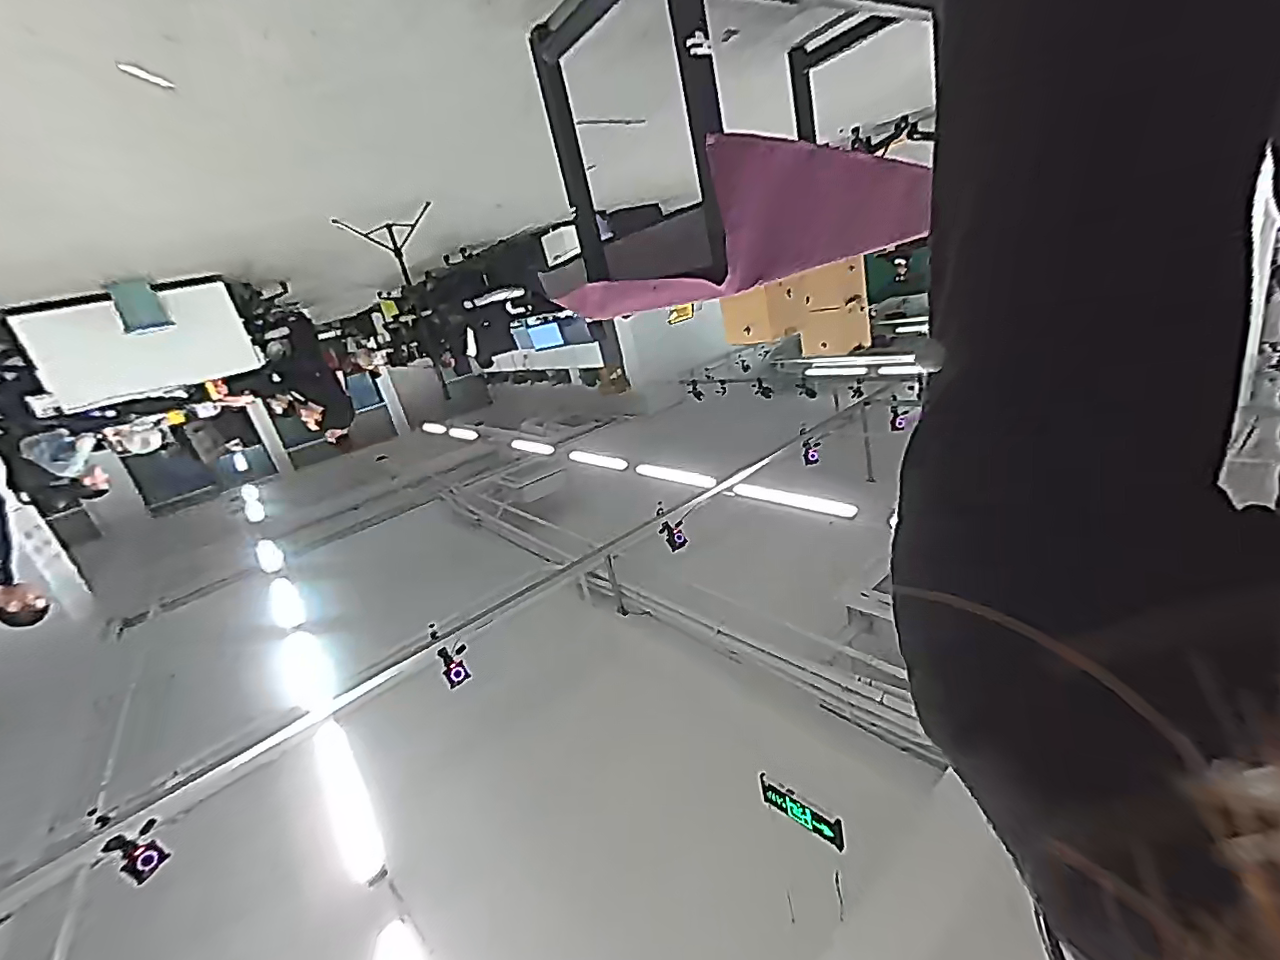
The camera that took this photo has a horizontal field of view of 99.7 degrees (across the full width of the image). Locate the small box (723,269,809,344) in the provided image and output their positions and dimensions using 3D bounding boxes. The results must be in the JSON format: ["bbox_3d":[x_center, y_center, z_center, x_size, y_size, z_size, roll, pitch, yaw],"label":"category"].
[{"bbox_3d":[0.351,-0.490,1.528,0.168,0.176,0.179,-26,-157,-30],"label":"small box"}]

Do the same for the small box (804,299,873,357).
[{"bbox_3d":[0.701,-0.545,1.931,0.168,0.176,0.179,-24,-157,-28],"label":"small box"}]

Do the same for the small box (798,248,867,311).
[{"bbox_3d":[0.663,-0.695,1.874,0.168,0.176,0.179,-27,-157,-31],"label":"small box"}]
